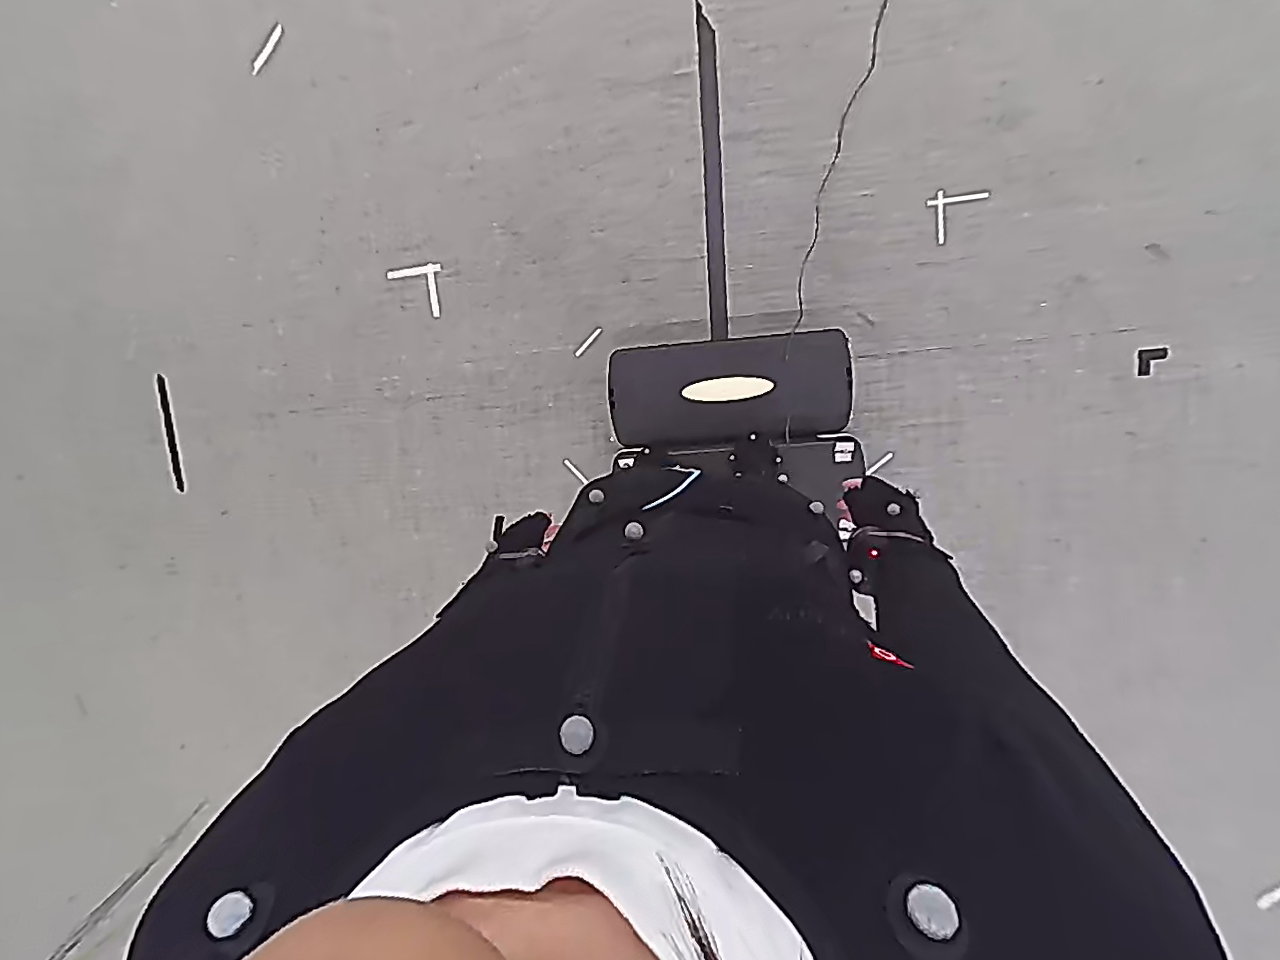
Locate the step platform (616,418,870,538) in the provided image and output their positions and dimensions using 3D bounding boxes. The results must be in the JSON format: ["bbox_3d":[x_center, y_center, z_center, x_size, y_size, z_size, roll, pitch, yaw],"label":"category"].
[{"bbox_3d":[0.273,-0.004,1.511,0.684,0.204,0.286,-5,95,9],"label":"step platform"}]
